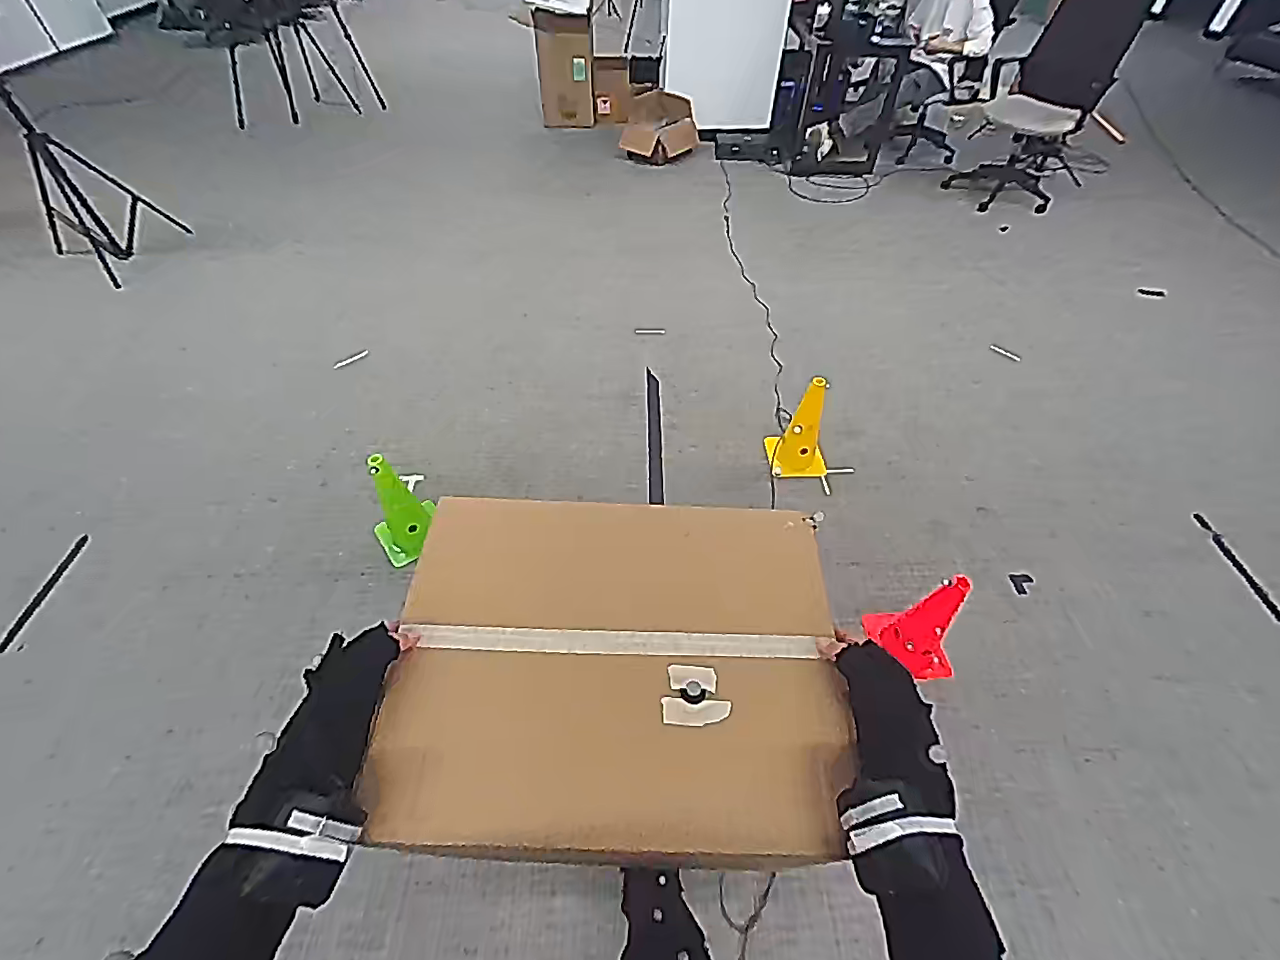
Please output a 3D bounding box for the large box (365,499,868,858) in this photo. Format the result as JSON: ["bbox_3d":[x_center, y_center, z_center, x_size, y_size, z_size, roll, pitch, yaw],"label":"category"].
[{"bbox_3d":[-0.022,0.240,0.626,0.408,0.320,0.320,3,53,-1],"label":"large box"}]

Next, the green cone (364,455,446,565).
[{"bbox_3d":[-0.736,0.055,1.631,0.202,0.368,0.200,-32,56,-23],"label":"green cone"}]

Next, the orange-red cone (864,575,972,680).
[{"bbox_3d":[0.754,0.353,1.397,0.198,0.360,0.199,-2,48,-3],"label":"orange-red cone"}]
